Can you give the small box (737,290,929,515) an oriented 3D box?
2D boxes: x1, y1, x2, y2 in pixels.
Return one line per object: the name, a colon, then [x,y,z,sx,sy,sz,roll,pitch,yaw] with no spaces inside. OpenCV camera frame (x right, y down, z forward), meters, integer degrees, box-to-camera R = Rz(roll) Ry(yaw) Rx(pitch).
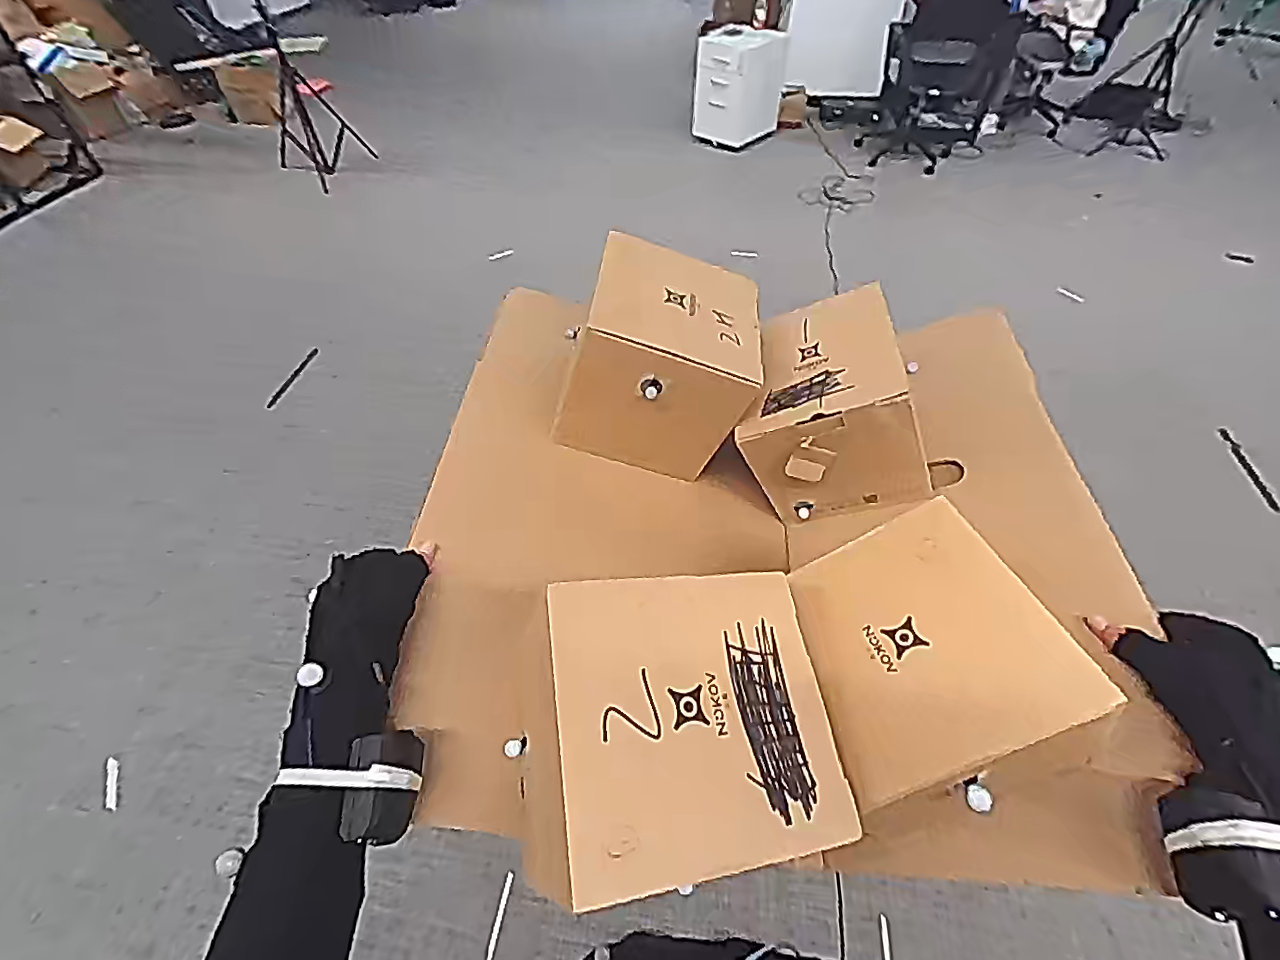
small box: [0.219,-0.075,0.620,0.168,0.176,0.179,-13,47,27]
